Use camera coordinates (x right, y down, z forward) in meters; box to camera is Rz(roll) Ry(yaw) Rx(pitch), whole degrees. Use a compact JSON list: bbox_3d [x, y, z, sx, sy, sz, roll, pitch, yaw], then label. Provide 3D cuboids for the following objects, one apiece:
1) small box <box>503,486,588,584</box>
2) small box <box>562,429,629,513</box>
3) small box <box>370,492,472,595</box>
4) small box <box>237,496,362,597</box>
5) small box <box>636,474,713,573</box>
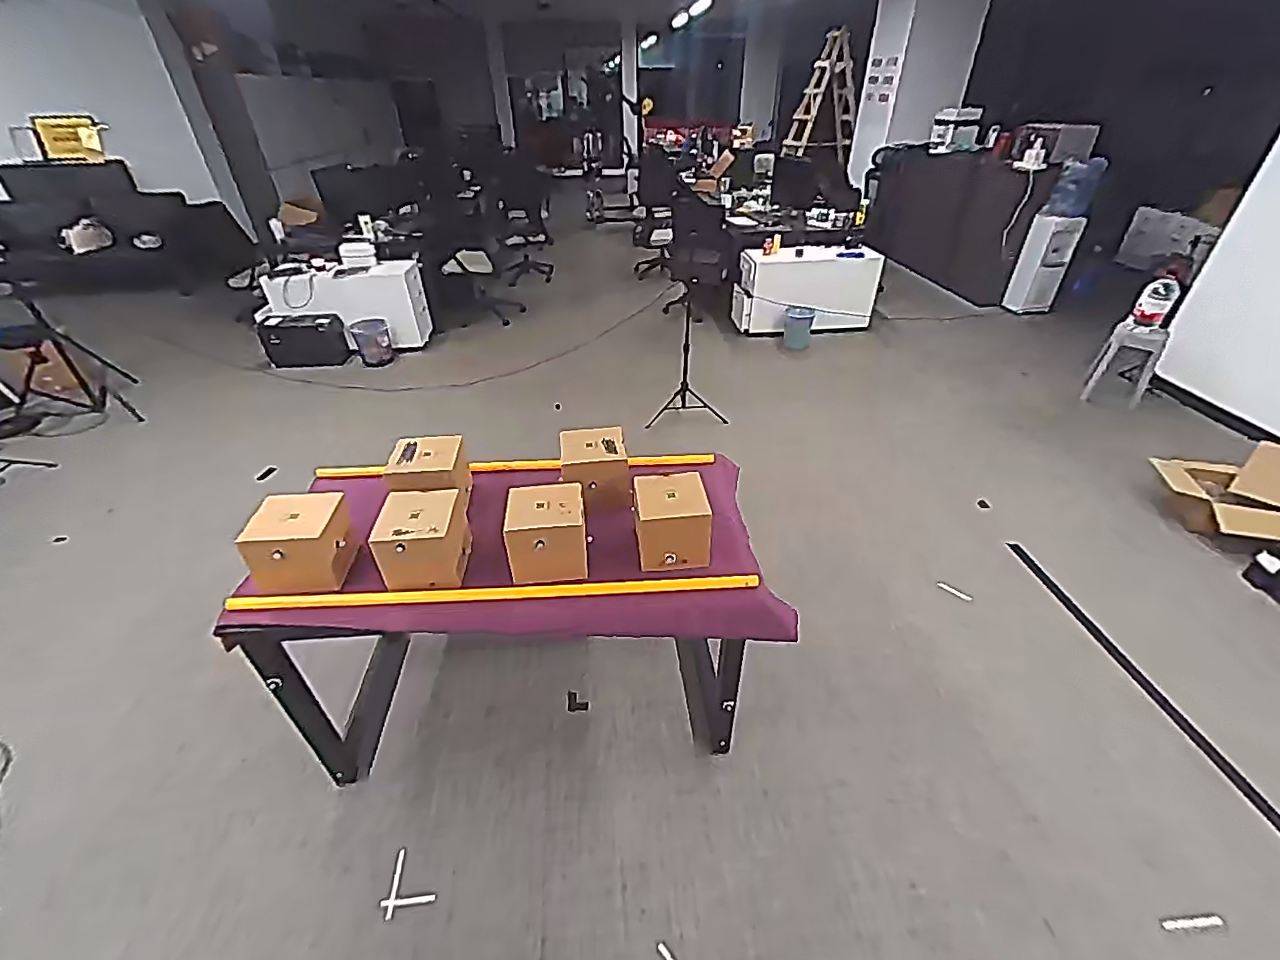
[{"bbox_3d":[-0.218,0.133,1.288,0.179,0.176,0.168,-4,34,-5],"label":"small box"},{"bbox_3d":[-0.123,-0.023,1.504,0.179,0.176,0.168,-6,37,-5],"label":"small box"},{"bbox_3d":[-0.503,0.148,1.275,0.168,0.176,0.179,-4,35,-3],"label":"small box"},{"bbox_3d":[-0.783,0.156,1.269,0.179,0.176,0.168,-3,35,-4],"label":"small box"},{"bbox_3d":[0.078,0.104,1.319,0.168,0.176,0.179,-5,34,-3],"label":"small box"}]
